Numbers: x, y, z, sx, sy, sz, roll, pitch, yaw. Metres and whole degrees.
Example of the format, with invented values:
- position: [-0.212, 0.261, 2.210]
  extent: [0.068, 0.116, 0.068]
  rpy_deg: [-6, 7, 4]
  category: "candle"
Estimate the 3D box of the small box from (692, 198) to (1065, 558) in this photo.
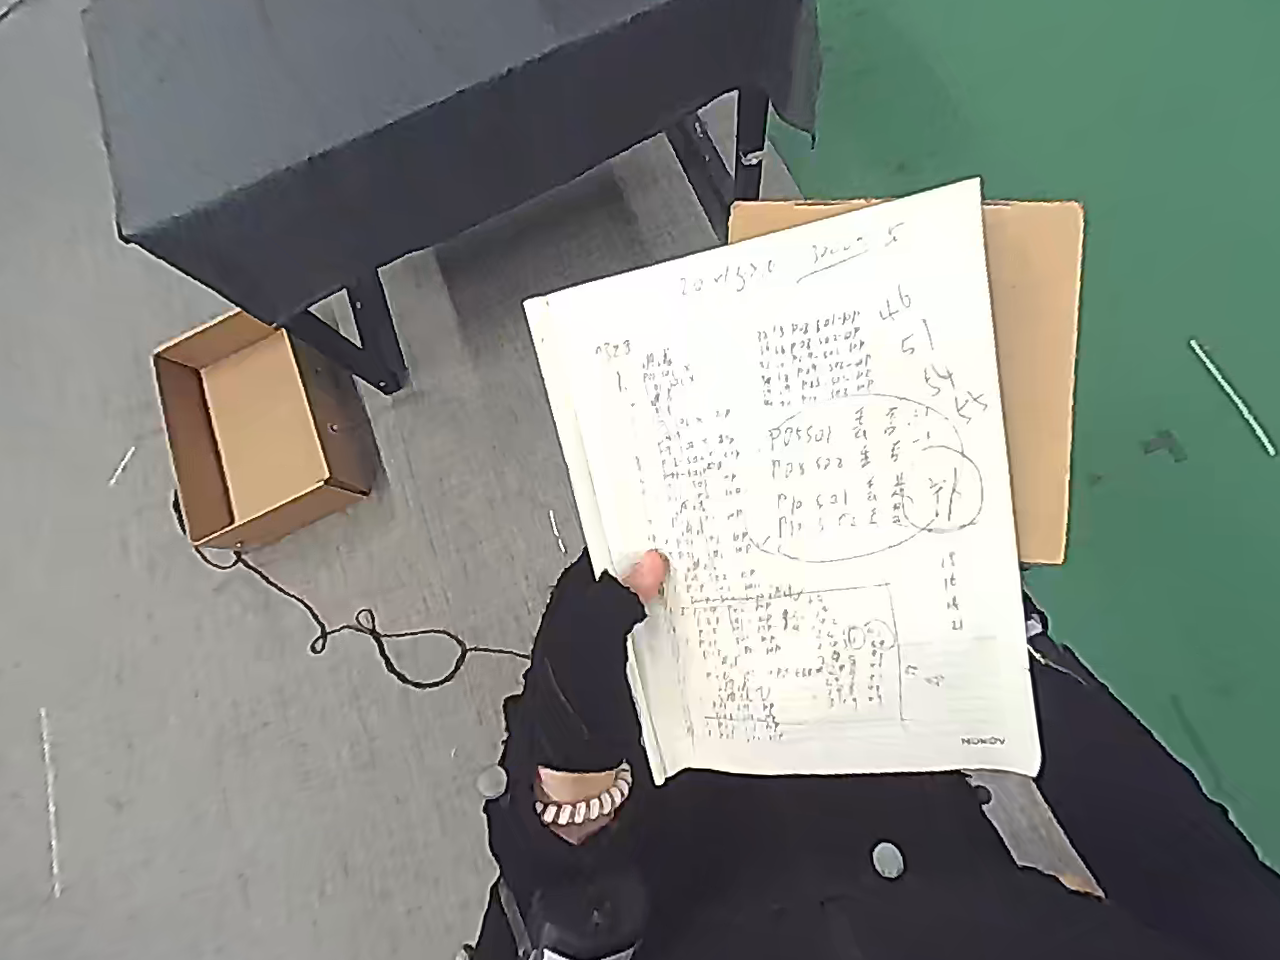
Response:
- position: [0.129, -0.050, 0.348]
  extent: [0.168, 0.176, 0.179]
  rpy_deg: [5, 86, 10]
  category: "small box"
